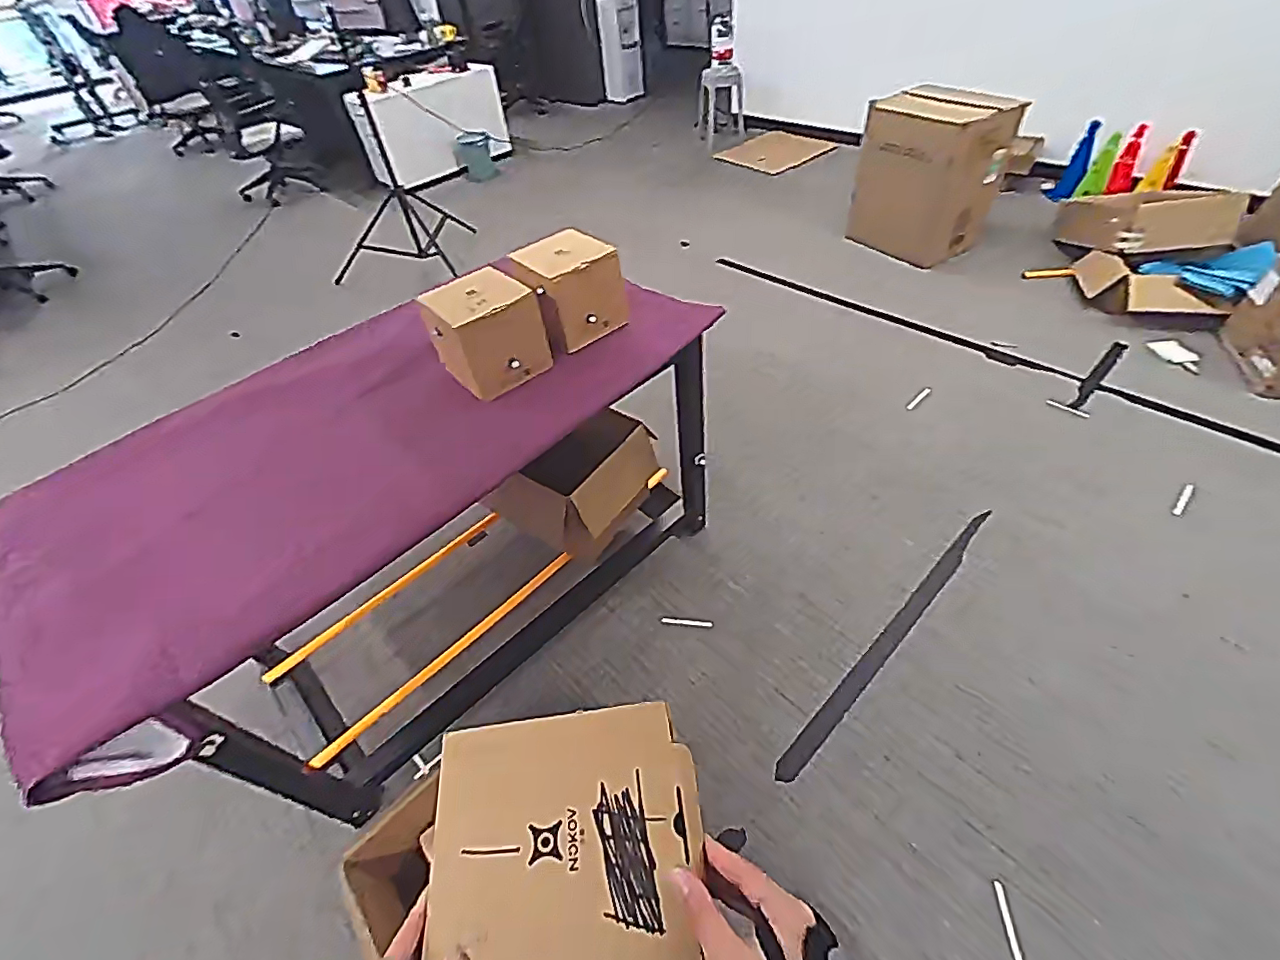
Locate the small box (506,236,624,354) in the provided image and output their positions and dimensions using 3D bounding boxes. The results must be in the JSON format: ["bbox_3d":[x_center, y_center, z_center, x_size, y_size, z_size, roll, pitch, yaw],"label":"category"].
[{"bbox_3d":[-0.156,-0.396,1.162,0.168,0.176,0.179,-35,51,-23],"label":"small box"}]

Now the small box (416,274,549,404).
[{"bbox_3d":[-0.306,-0.278,1.073,0.168,0.176,0.179,-35,51,-23],"label":"small box"}]

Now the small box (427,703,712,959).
[{"bbox_3d":[-0.045,0.293,0.428,0.179,0.176,0.168,-8,52,0],"label":"small box"}]
